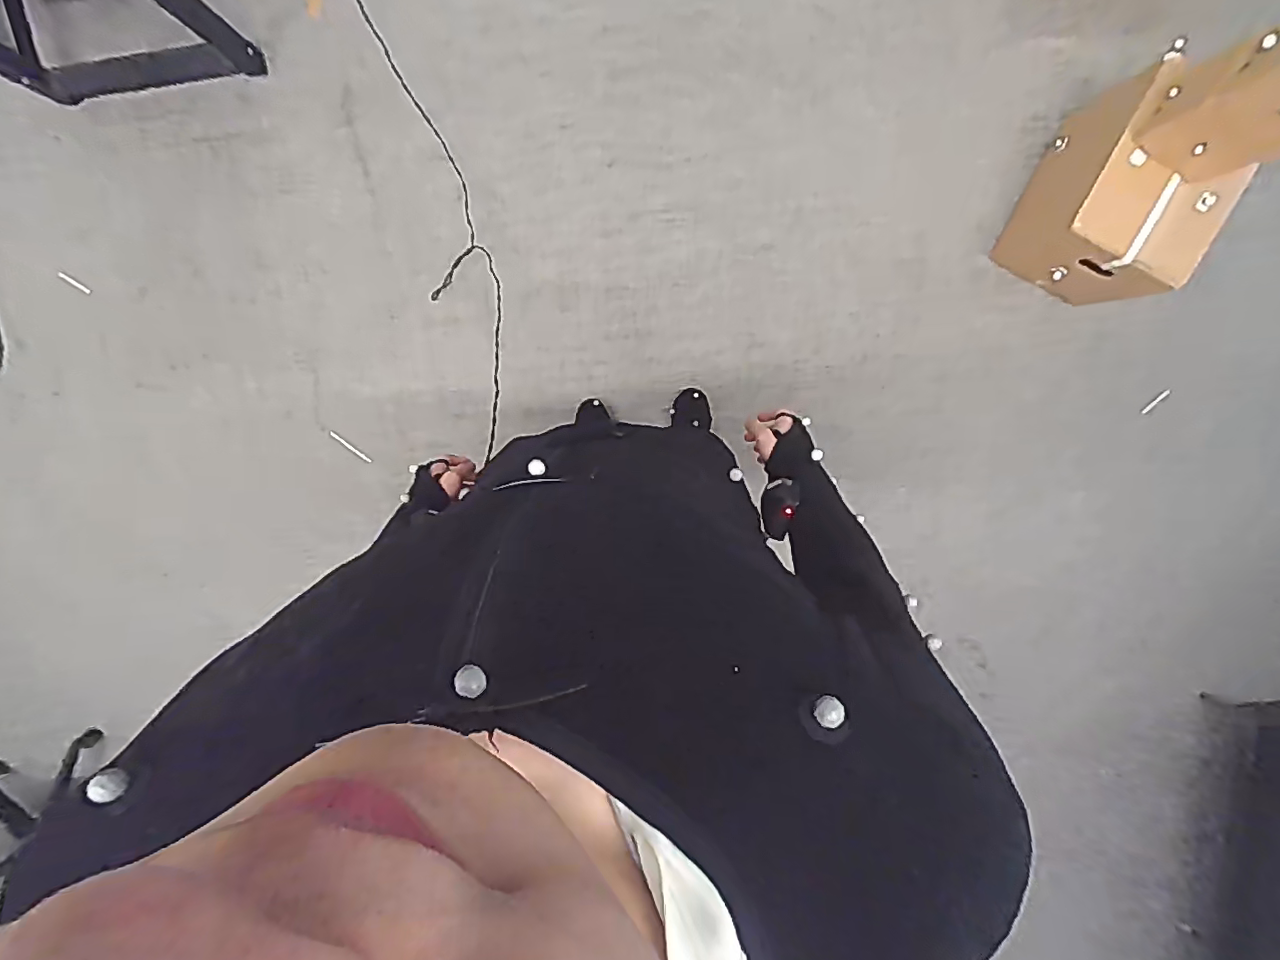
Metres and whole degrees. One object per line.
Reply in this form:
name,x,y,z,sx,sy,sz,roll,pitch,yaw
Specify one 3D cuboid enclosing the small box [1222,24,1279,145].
small box,1.200,-0.718,0.930,0.179,0.176,0.168,35,99,-4
